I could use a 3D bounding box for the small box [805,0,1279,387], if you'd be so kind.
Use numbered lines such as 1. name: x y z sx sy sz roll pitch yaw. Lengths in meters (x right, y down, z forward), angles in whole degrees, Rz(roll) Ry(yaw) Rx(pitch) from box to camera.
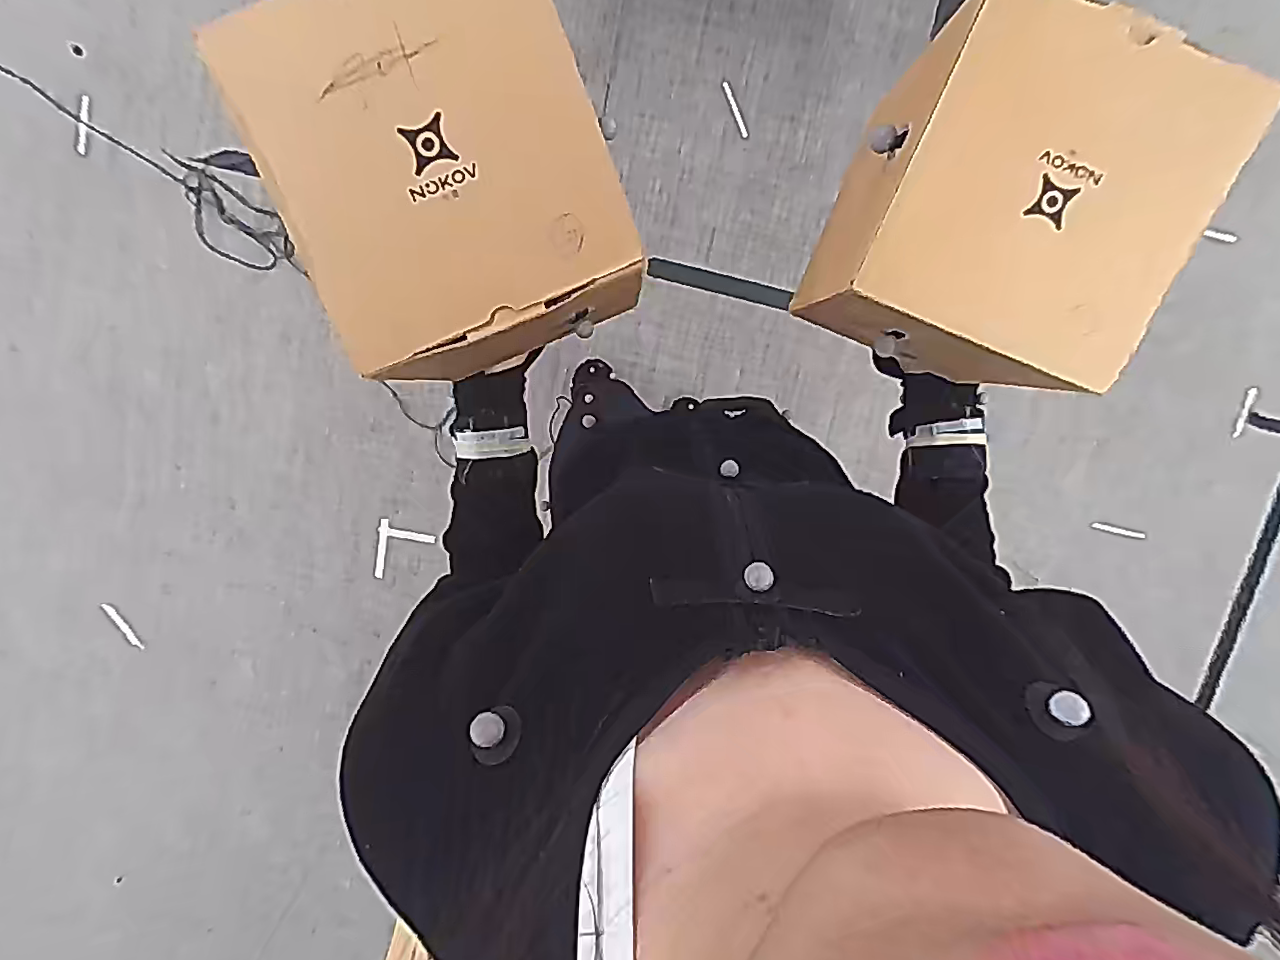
1. small box: 0.233 -0.177 0.374 0.168 0.176 0.179 22 101 -2

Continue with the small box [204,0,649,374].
1. small box: -0.103 -0.179 0.346 0.168 0.176 0.179 -23 100 1
